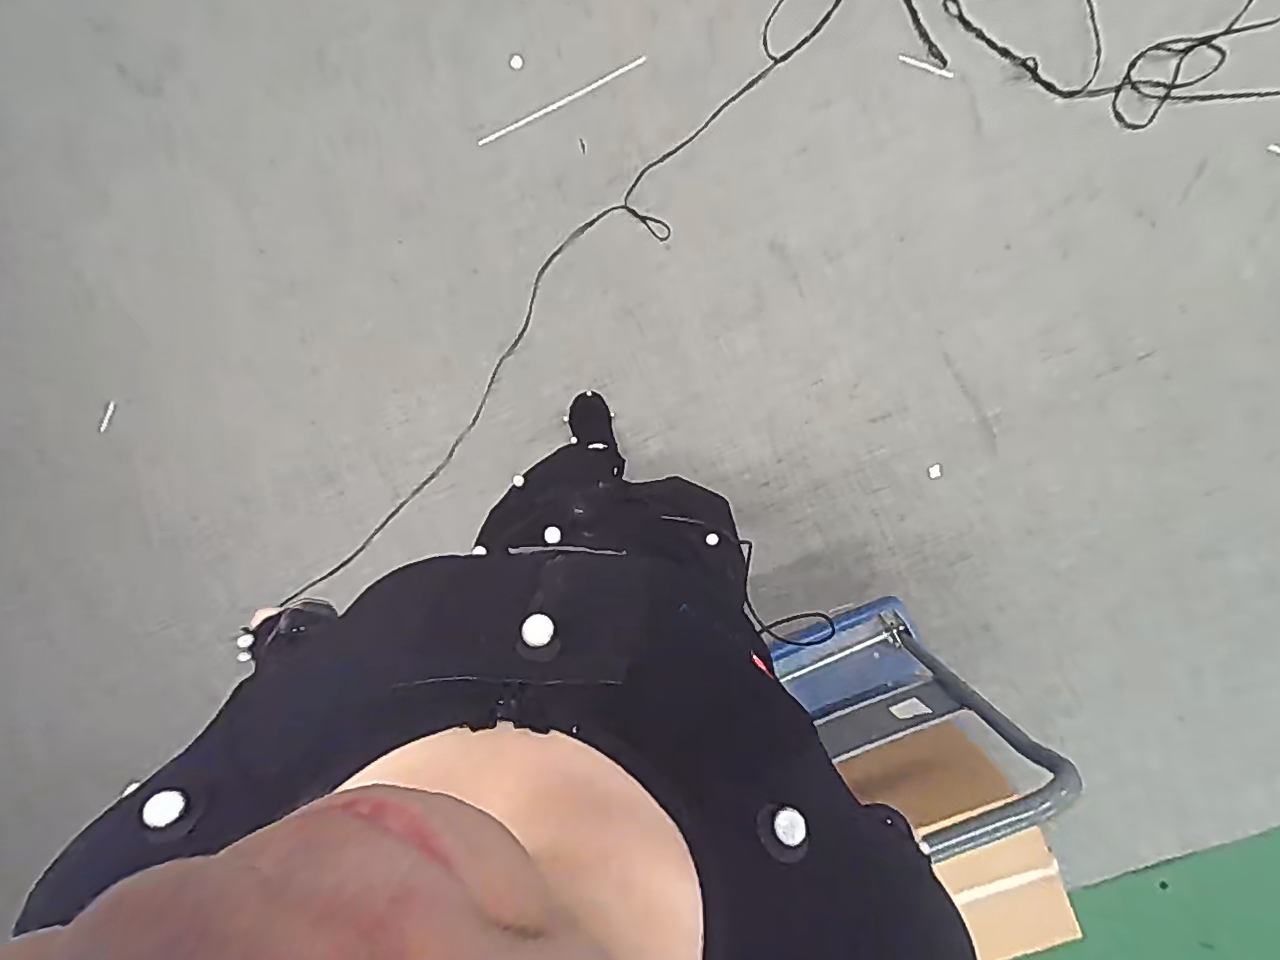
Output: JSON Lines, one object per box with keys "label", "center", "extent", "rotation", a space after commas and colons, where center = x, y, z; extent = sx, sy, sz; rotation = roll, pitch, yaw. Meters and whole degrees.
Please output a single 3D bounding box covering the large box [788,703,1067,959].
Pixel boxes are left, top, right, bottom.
{"label": "large box", "center": [0.597, 0.769, 1.199], "extent": [0.408, 0.320, 0.320], "rotation": [-23, 92, 6]}
